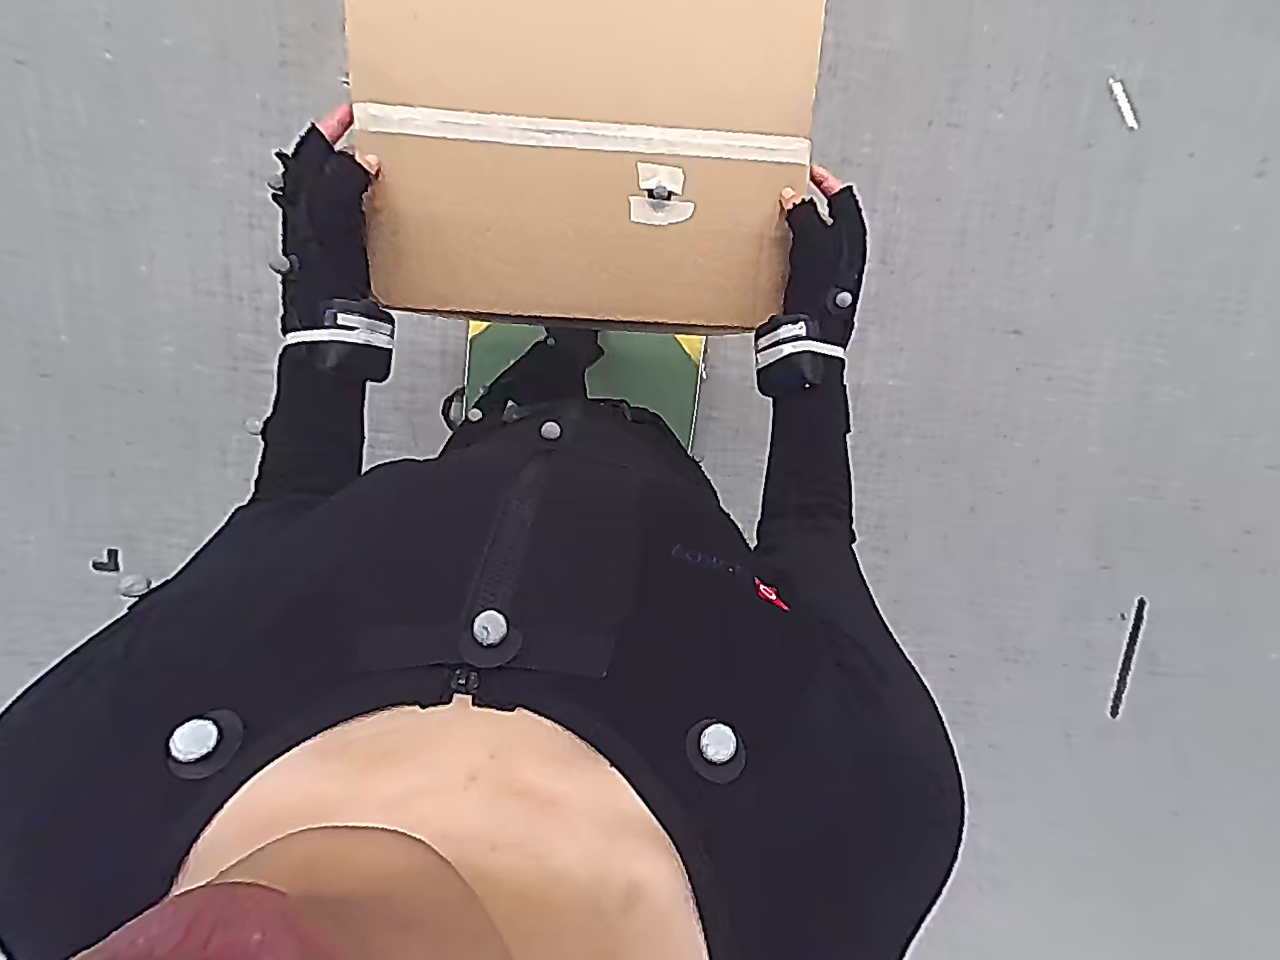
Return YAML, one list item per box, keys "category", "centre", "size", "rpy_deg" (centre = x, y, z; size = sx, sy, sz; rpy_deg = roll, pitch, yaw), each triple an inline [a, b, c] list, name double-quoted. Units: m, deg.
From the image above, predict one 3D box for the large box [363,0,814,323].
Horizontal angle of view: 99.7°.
- category: "large box"
  centre: [-0.058, -0.360, 0.643]
  size: [0.408, 0.320, 0.320]
  rpy_deg: [1, 104, -5]
